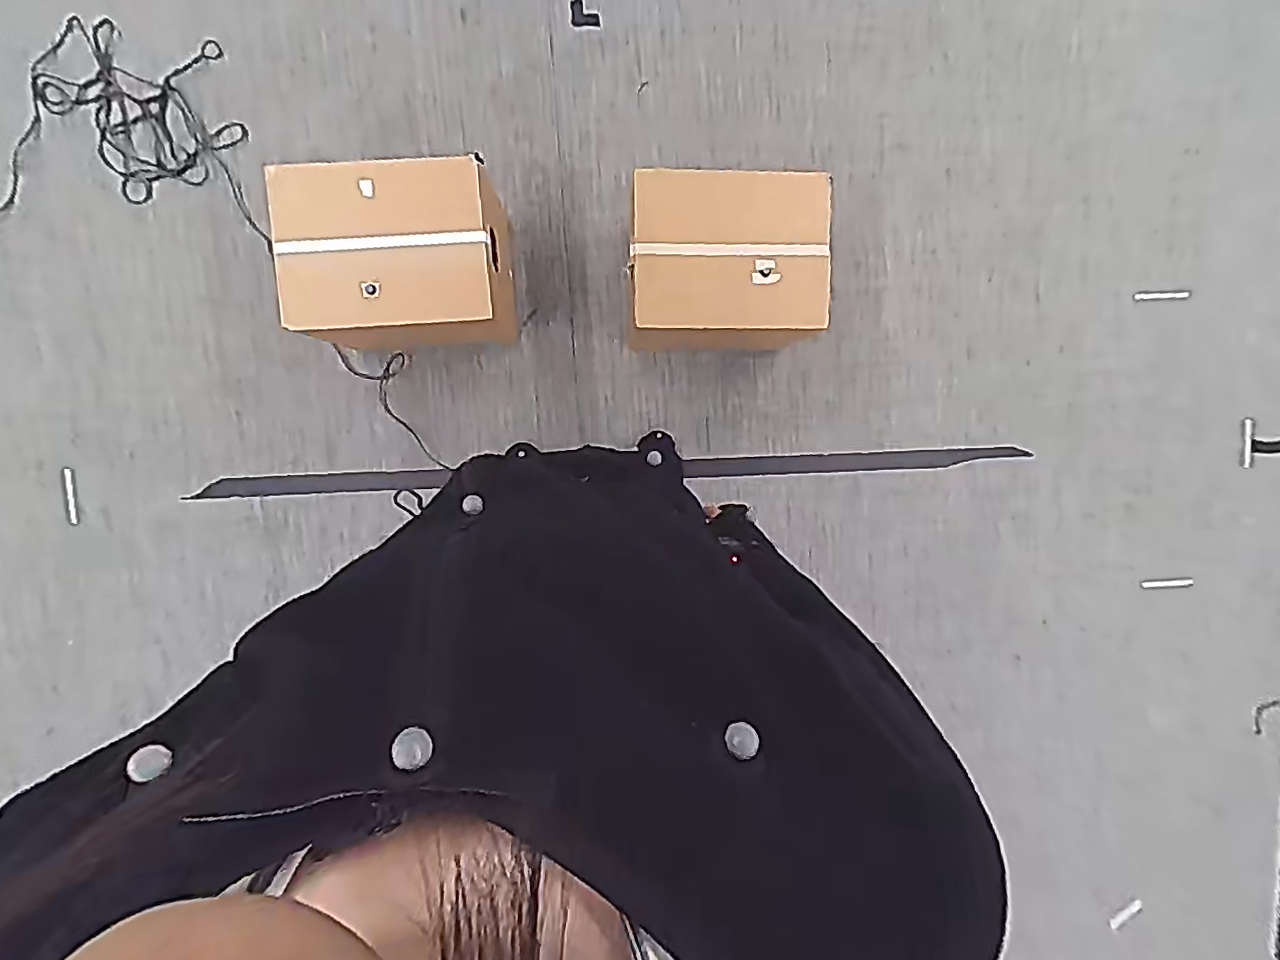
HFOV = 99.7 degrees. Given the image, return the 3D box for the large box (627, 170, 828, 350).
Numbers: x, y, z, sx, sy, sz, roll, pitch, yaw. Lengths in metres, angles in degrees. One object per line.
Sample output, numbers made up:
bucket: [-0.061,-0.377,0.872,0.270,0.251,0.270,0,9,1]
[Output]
large box: [0.179,-0.483,1.256,0.408,0.320,0.320,0,95,-4]
